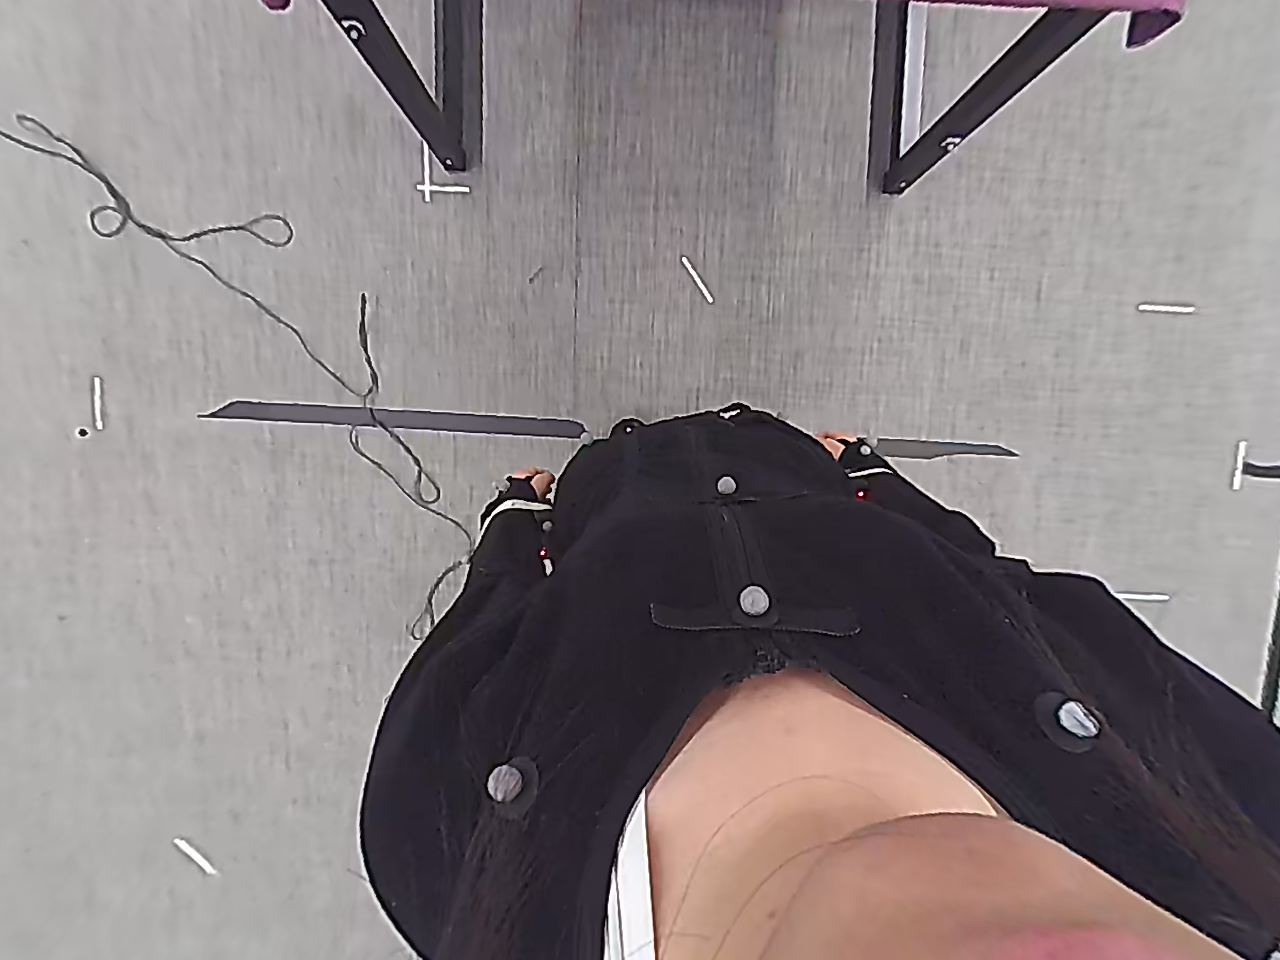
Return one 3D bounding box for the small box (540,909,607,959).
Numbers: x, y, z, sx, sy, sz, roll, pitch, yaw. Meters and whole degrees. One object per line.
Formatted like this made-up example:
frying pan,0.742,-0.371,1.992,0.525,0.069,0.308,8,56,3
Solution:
small box,-0.181,1.345,1.501,0.168,0.176,0.179,-4,96,-2
